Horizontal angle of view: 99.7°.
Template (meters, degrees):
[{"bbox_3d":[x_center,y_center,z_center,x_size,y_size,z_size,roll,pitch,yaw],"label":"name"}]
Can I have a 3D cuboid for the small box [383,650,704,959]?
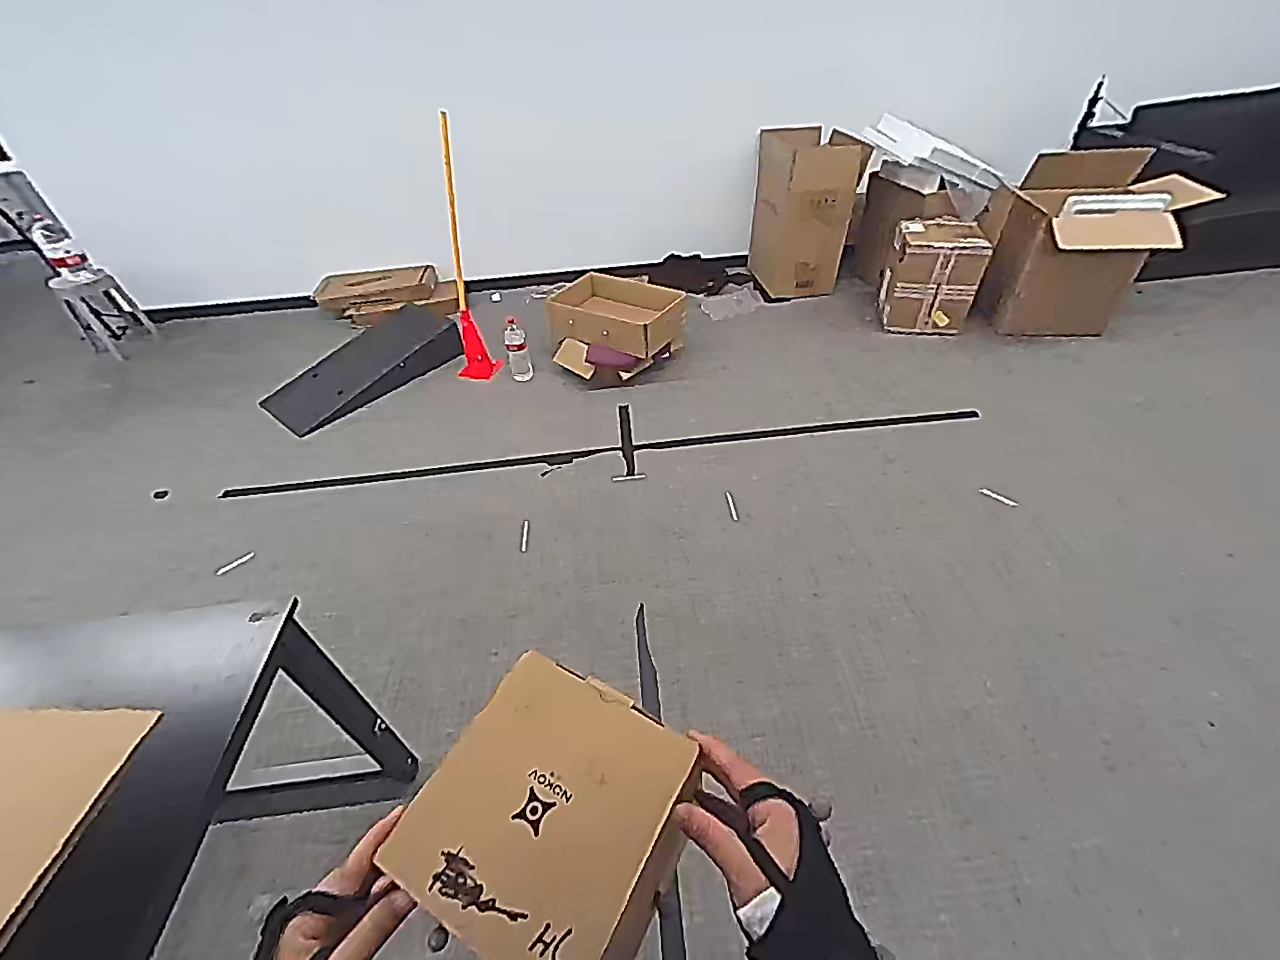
[{"bbox_3d":[-0.059,0.282,0.440,0.168,0.176,0.179,19,49,25],"label":"small box"}]
